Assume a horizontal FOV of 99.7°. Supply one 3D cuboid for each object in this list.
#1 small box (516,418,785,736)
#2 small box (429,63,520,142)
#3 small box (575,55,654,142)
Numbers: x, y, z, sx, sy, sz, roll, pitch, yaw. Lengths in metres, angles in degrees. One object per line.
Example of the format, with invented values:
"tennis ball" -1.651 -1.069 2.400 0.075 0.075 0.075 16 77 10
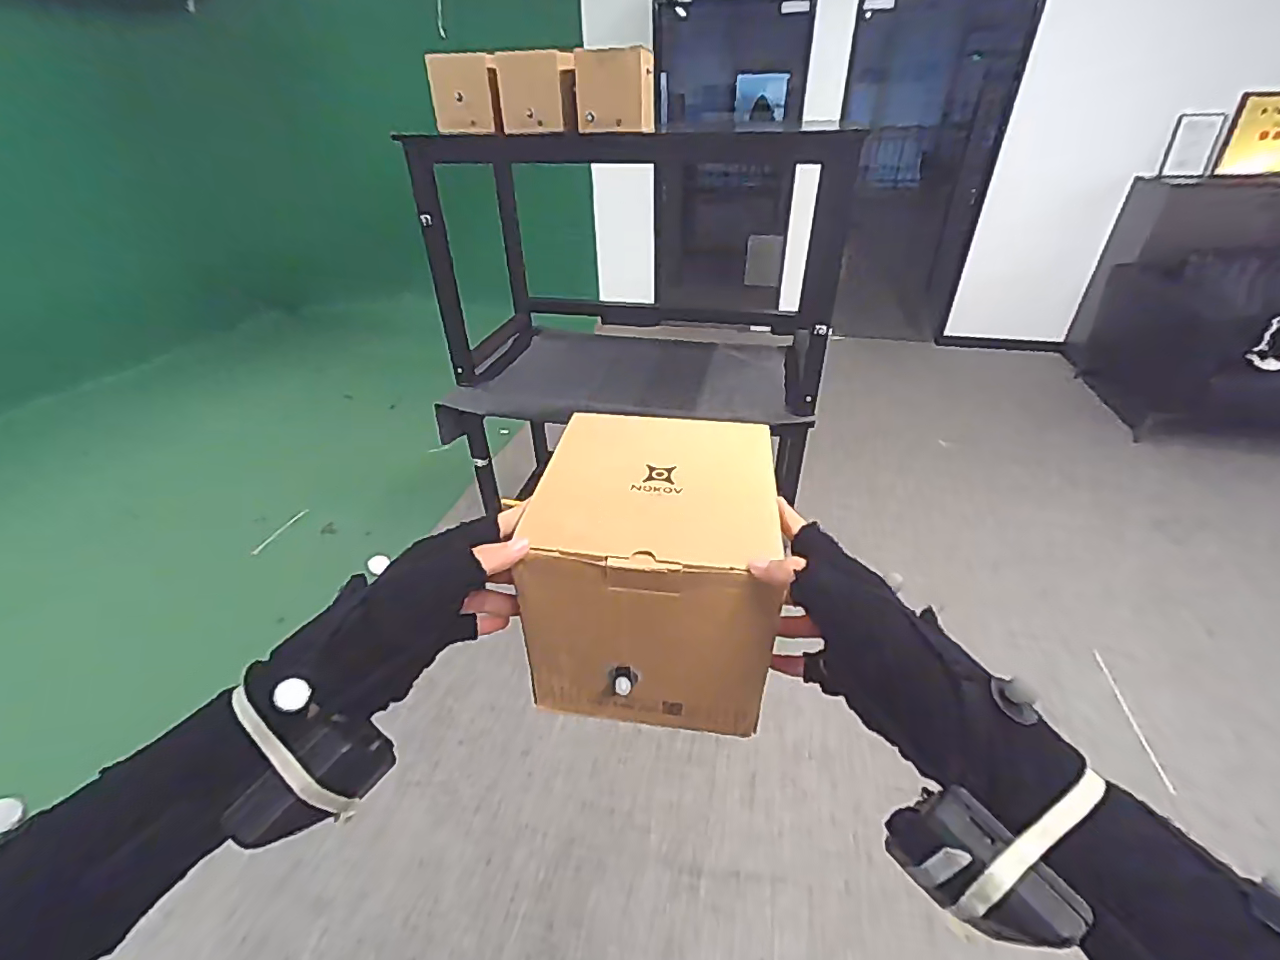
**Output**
"small box" 0.014 0.068 0.432 0.168 0.176 0.179 4 35 6
"small box" -0.440 -1.024 1.473 0.168 0.176 0.179 8 35 11
"small box" -0.057 -0.967 1.380 0.168 0.176 0.179 5 34 10
